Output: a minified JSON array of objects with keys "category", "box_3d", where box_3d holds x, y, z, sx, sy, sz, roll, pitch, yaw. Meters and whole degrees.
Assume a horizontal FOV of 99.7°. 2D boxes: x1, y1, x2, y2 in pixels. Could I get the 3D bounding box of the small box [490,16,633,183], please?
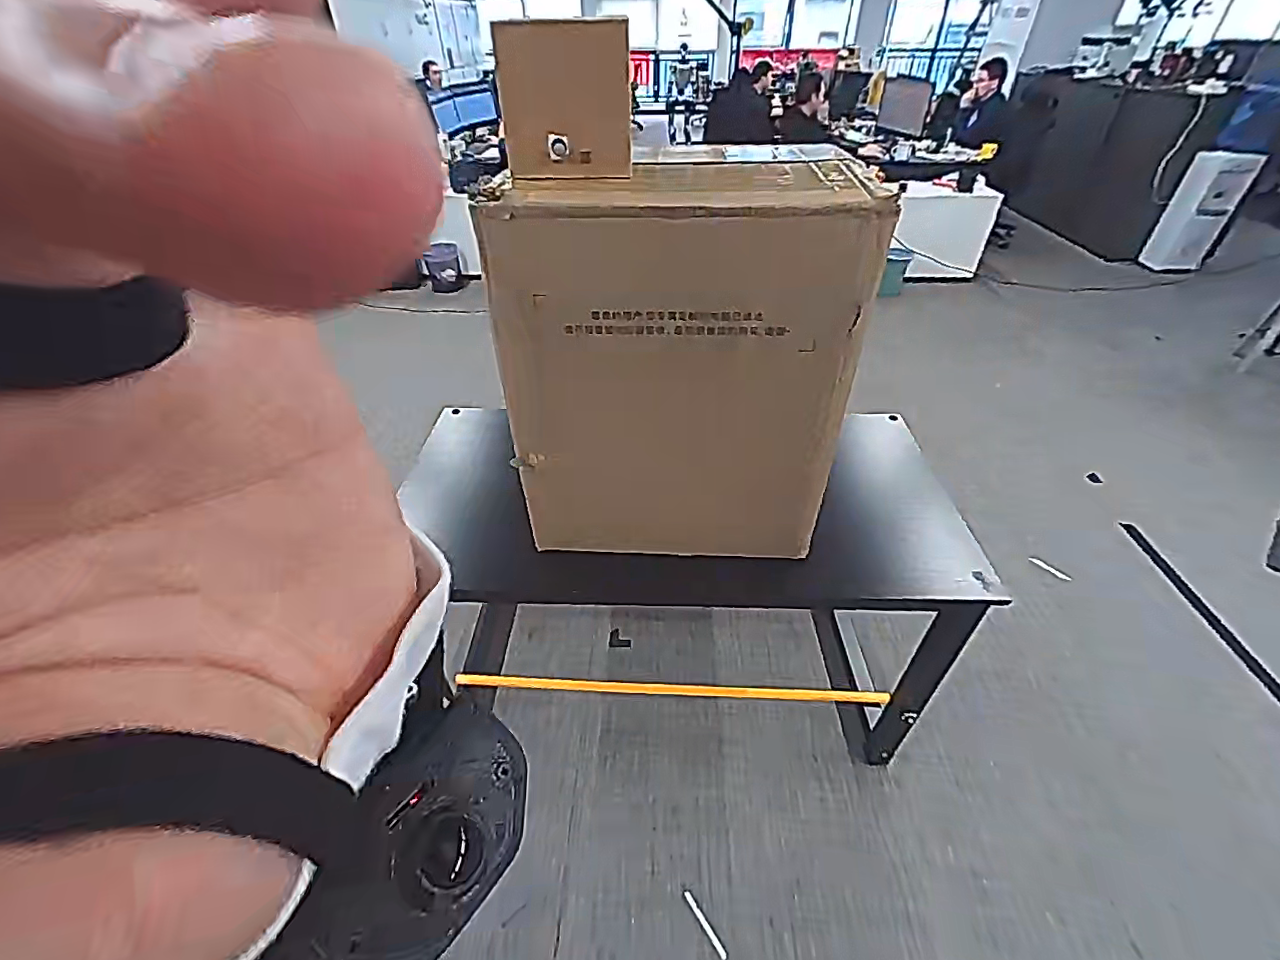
[{"category":"small box","box_3d":[-0.095,-0.520,0.737,0.168,0.176,0.179,-3,42,-2]}]
